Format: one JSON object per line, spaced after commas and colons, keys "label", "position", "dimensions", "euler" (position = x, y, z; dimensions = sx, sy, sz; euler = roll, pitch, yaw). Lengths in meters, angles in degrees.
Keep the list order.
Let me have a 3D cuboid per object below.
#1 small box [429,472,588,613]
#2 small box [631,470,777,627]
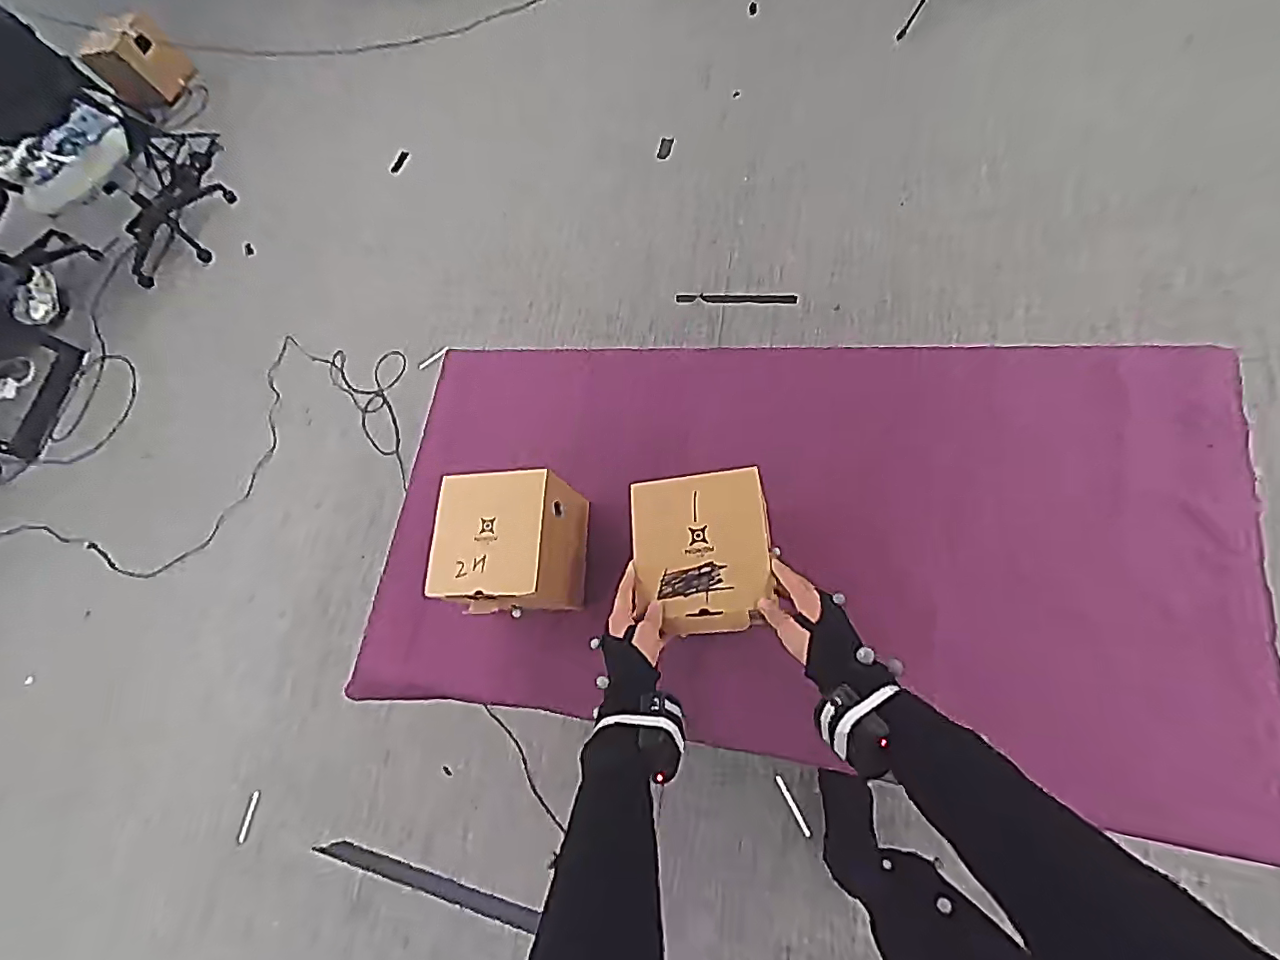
{"label": "small box", "position": [-0.184, 0.101, 0.811], "dimensions": [0.168, 0.176, 0.179], "euler": [-4, 71, 15]}
{"label": "small box", "position": [0.091, 0.103, 0.731], "dimensions": [0.168, 0.176, 0.179], "euler": [-8, 69, 14]}
